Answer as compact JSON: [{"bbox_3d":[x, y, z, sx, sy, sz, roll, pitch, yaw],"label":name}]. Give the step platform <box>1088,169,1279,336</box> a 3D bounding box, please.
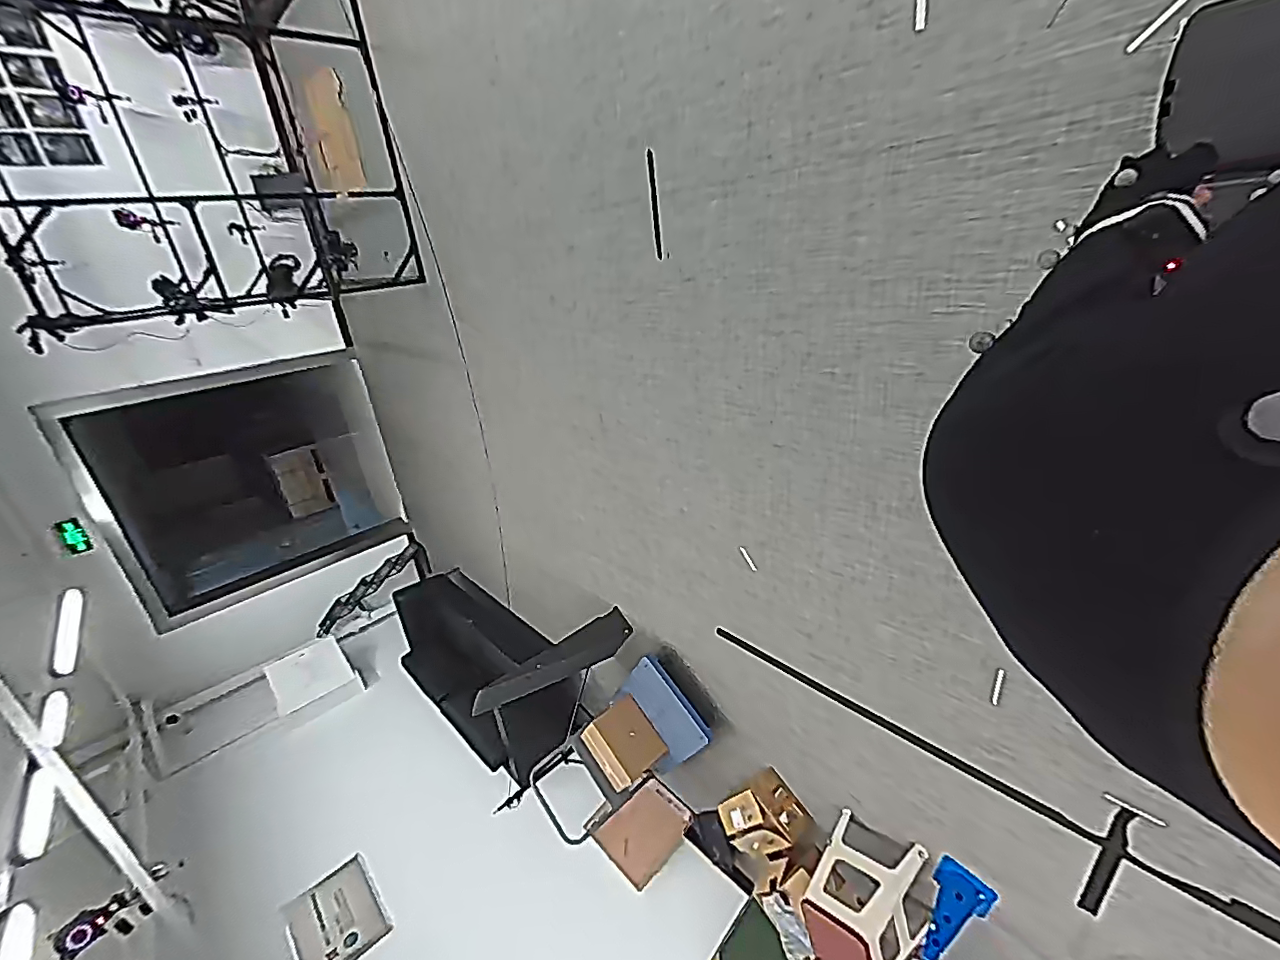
[{"bbox_3d":[1.223,-0.401,0.935,0.684,0.204,0.286,18,124,46],"label":"step platform"}]
